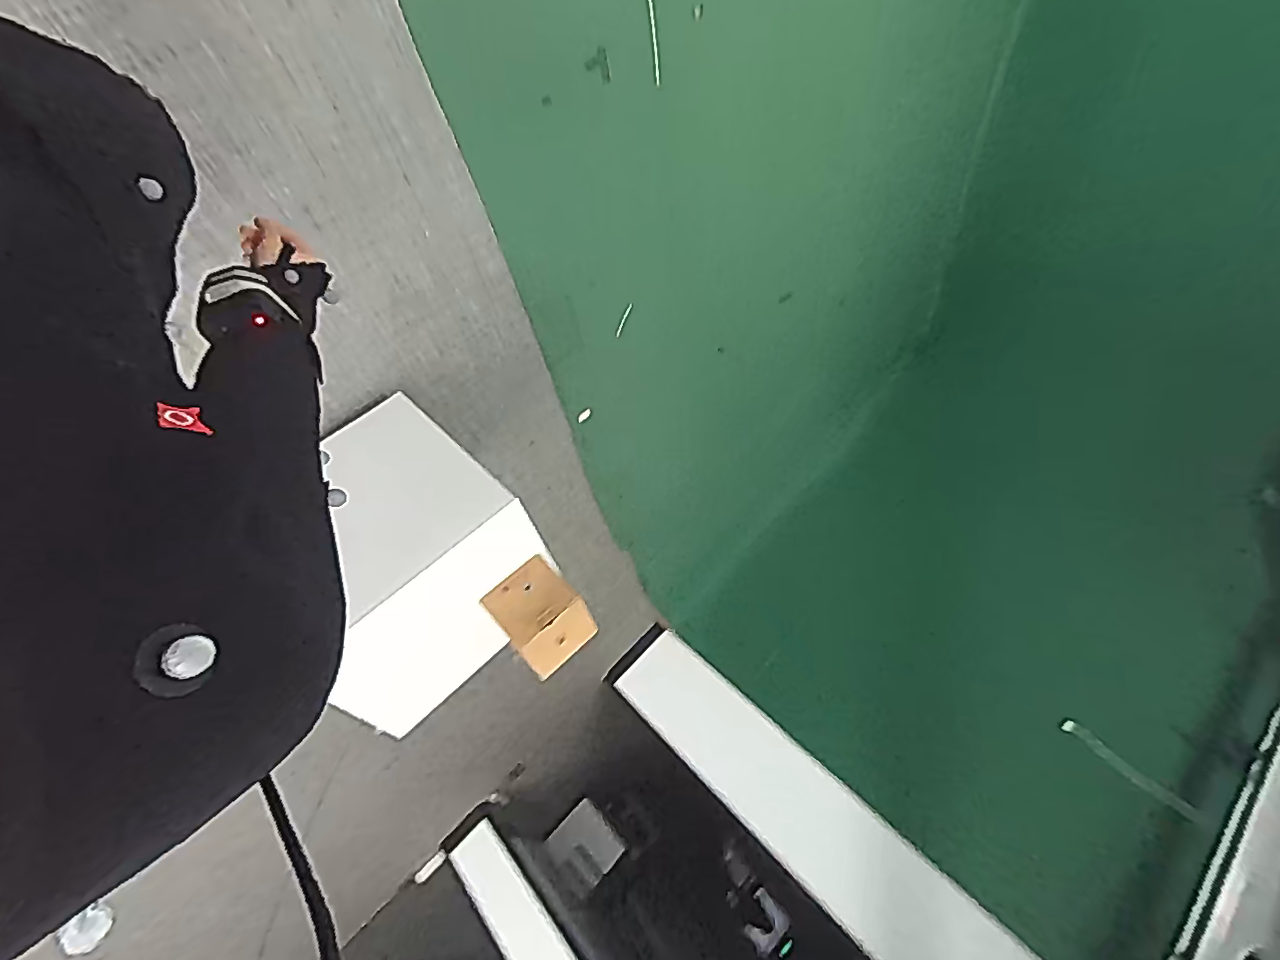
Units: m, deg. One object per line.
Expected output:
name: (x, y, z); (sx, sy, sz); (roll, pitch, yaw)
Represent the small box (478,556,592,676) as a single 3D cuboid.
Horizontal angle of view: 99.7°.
small box: (-0.239, 0.307, 1.237); (0.168, 0.176, 0.179); (-39, 144, -20)
